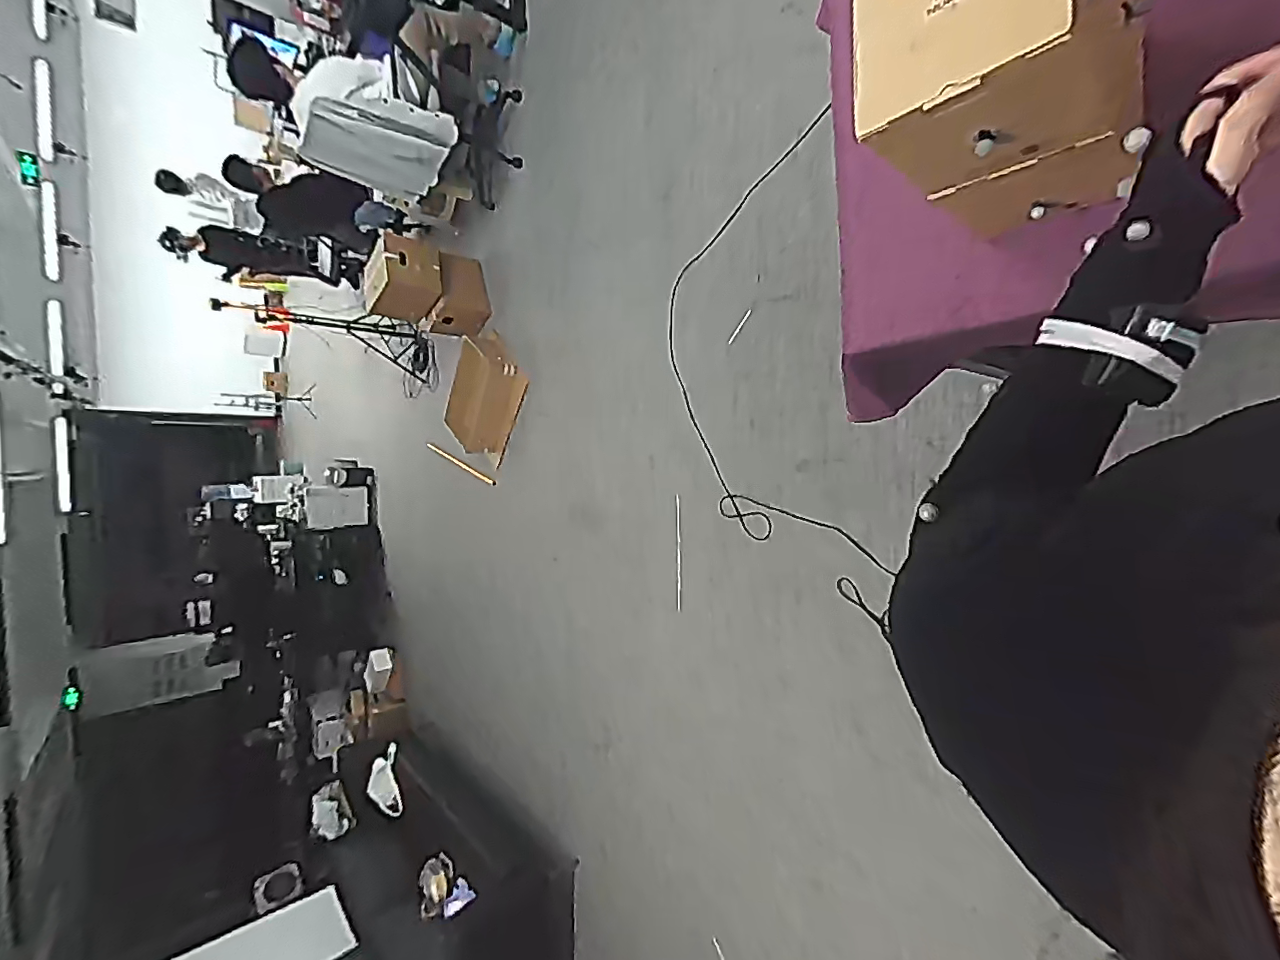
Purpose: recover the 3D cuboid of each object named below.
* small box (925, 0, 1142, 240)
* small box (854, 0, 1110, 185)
[{"bbox_3d":[0.443,-0.403,0.611,0.168,0.176,0.179,1,92,50],"label":"small box"},{"bbox_3d":[0.318,-0.404,0.503,0.168,0.176,0.179,0,91,48],"label":"small box"}]
